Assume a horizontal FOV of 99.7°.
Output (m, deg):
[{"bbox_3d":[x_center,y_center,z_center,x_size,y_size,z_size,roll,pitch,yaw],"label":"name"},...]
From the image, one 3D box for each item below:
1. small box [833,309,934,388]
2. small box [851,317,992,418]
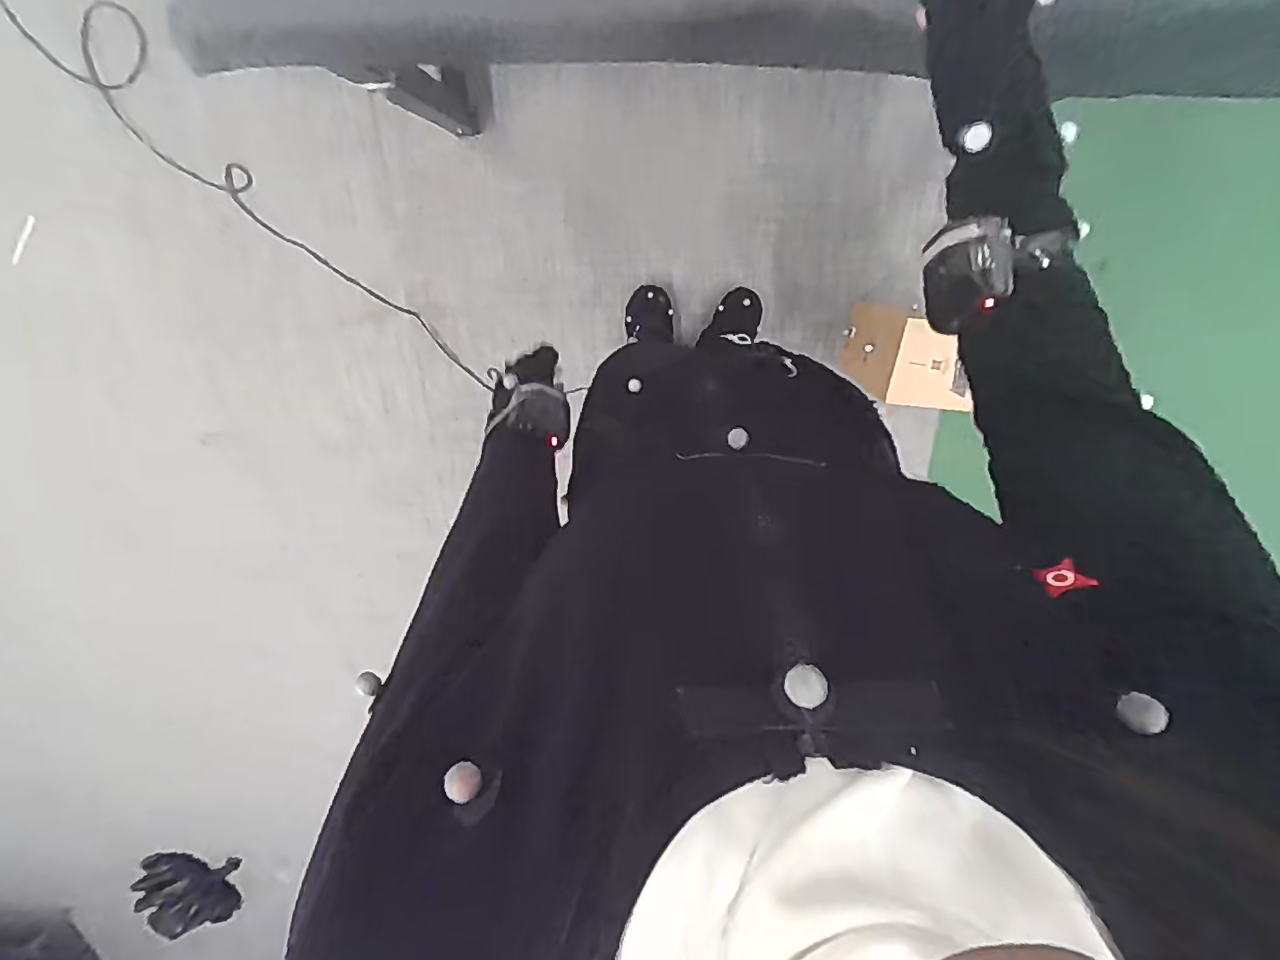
[{"bbox_3d":[0.578,-0.299,1.263,0.179,0.176,0.168,7,112,-1],"label":"small box"},{"bbox_3d":[0.564,-0.237,1.110,0.179,0.176,0.168,6,112,-1],"label":"small box"}]
